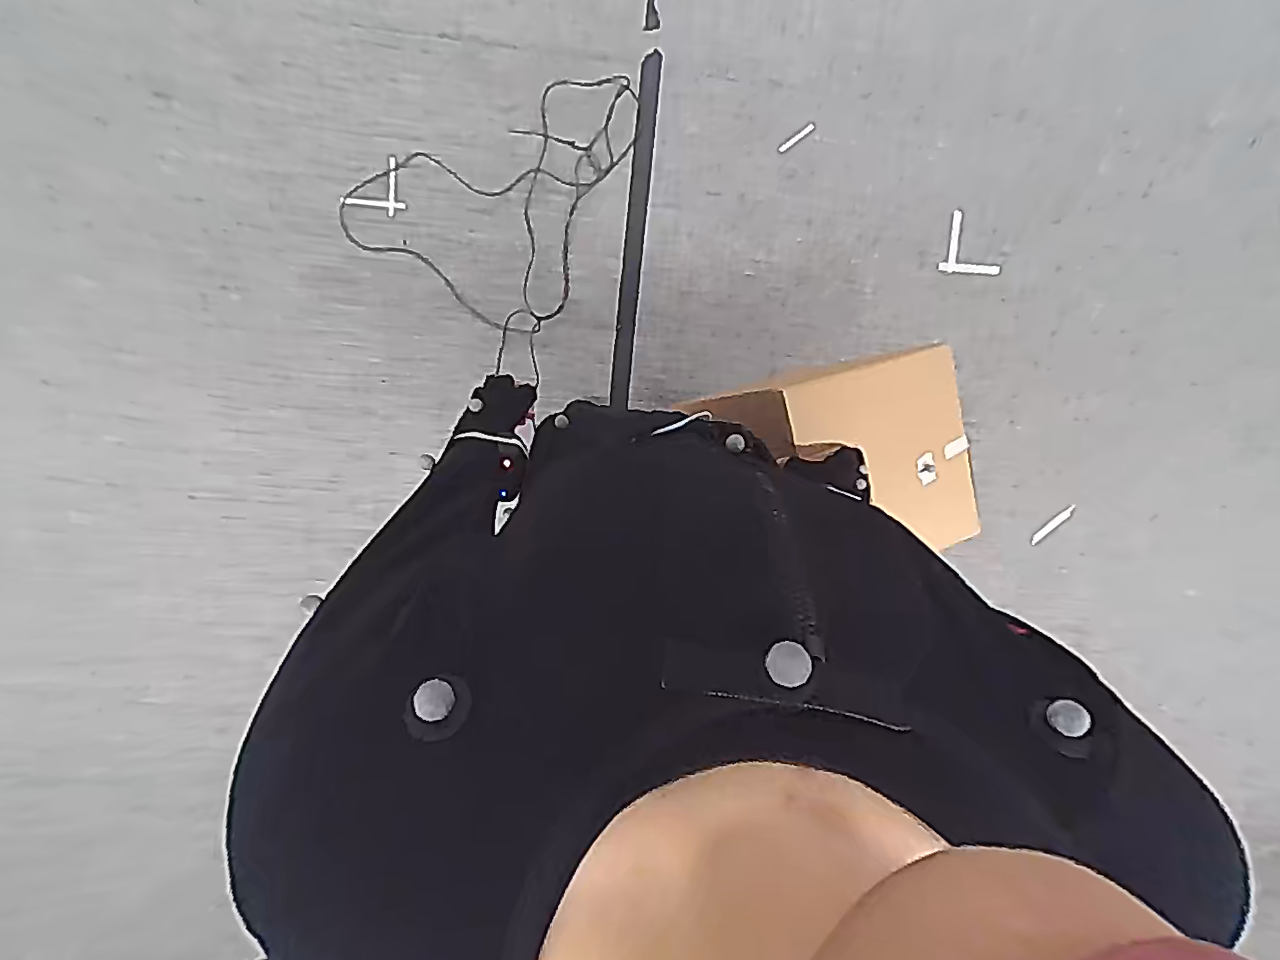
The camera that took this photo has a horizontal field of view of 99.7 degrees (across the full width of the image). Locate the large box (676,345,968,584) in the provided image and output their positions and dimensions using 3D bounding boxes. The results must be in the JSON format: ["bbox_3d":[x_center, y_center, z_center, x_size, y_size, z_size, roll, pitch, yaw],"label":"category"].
[{"bbox_3d":[0.309,-0.040,1.010,0.320,0.408,0.320,-15,99,-16],"label":"large box"}]
